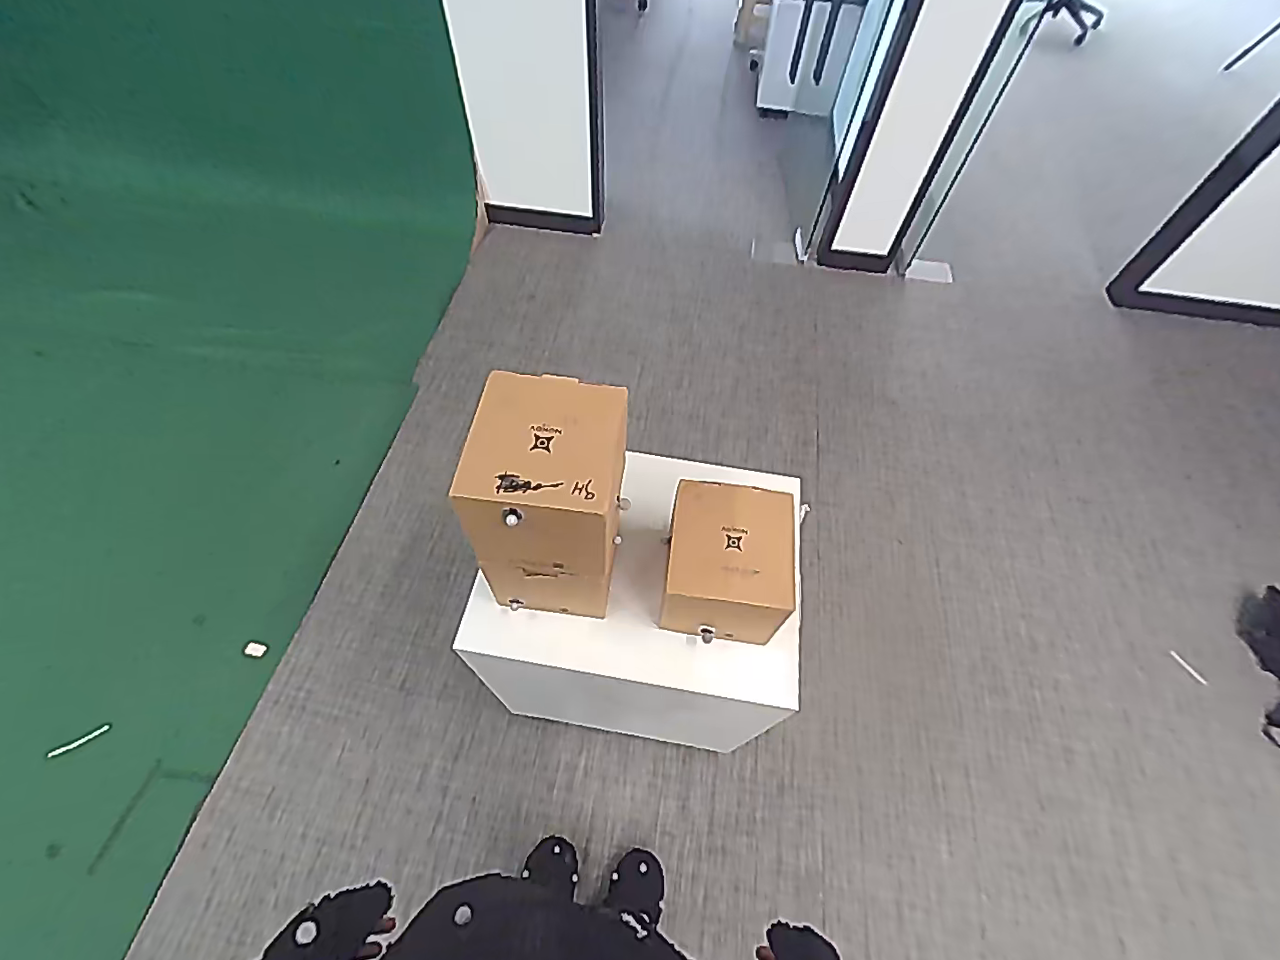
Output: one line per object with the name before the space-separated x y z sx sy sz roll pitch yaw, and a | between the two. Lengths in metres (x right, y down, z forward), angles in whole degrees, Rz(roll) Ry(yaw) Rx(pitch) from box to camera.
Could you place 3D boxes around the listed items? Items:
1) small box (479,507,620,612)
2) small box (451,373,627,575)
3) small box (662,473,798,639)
small box | -0.121 0.083 0.803 0.168 0.176 0.179 7 57 1
small box | -0.110 -0.004 0.666 0.168 0.176 0.179 7 57 1
small box | 0.123 0.113 0.779 0.168 0.176 0.179 6 60 3
